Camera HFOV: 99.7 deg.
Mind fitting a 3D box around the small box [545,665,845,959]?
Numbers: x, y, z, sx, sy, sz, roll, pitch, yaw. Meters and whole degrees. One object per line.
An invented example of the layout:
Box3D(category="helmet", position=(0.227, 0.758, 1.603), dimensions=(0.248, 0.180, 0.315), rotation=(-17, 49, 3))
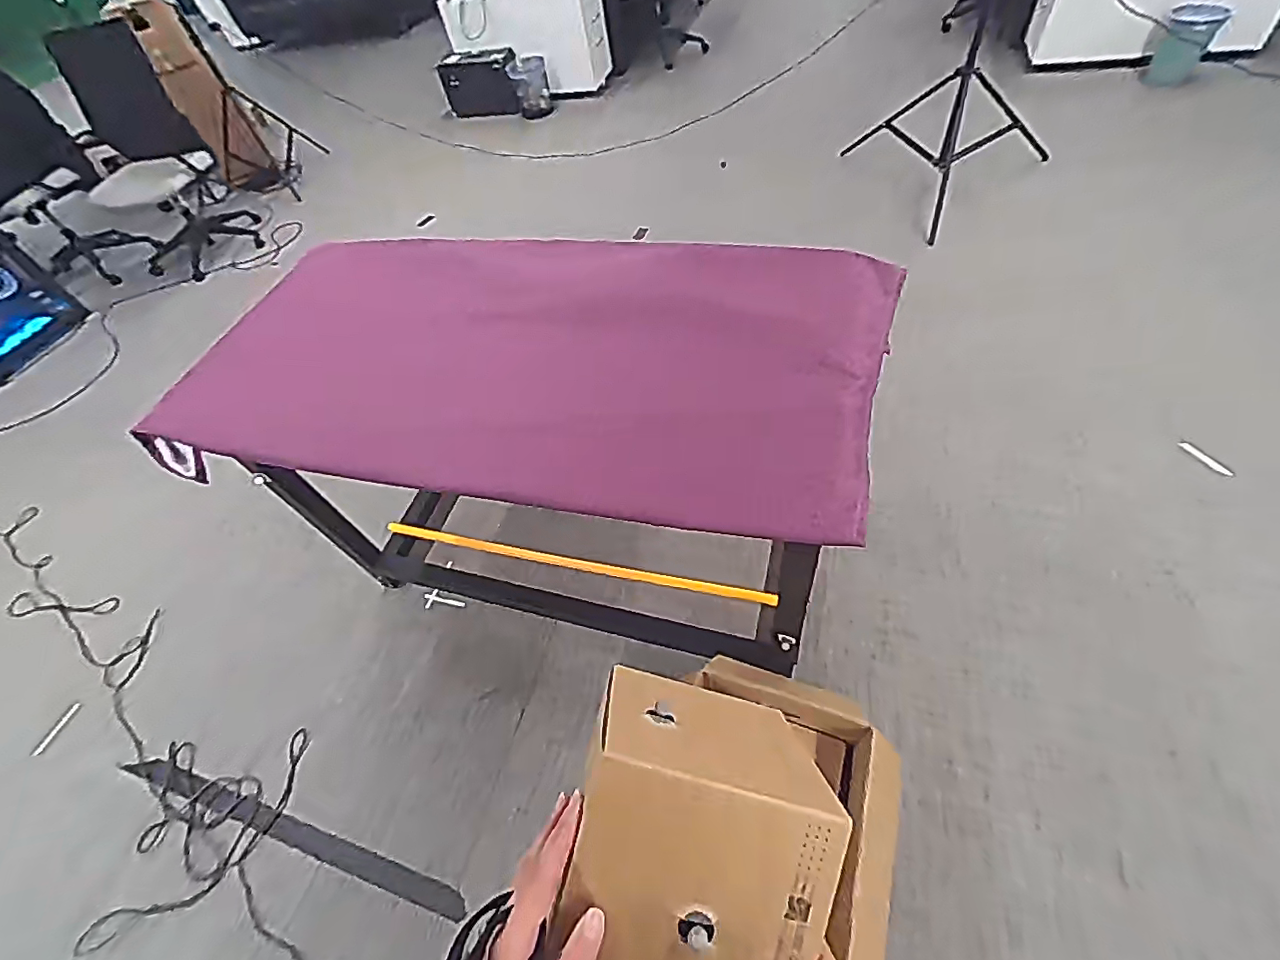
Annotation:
Box3D(category="small box", position=(0.036, 0.270, 0.423), dimensions=(0.176, 0.179, 0.168), rotation=(16, 89, -1))
